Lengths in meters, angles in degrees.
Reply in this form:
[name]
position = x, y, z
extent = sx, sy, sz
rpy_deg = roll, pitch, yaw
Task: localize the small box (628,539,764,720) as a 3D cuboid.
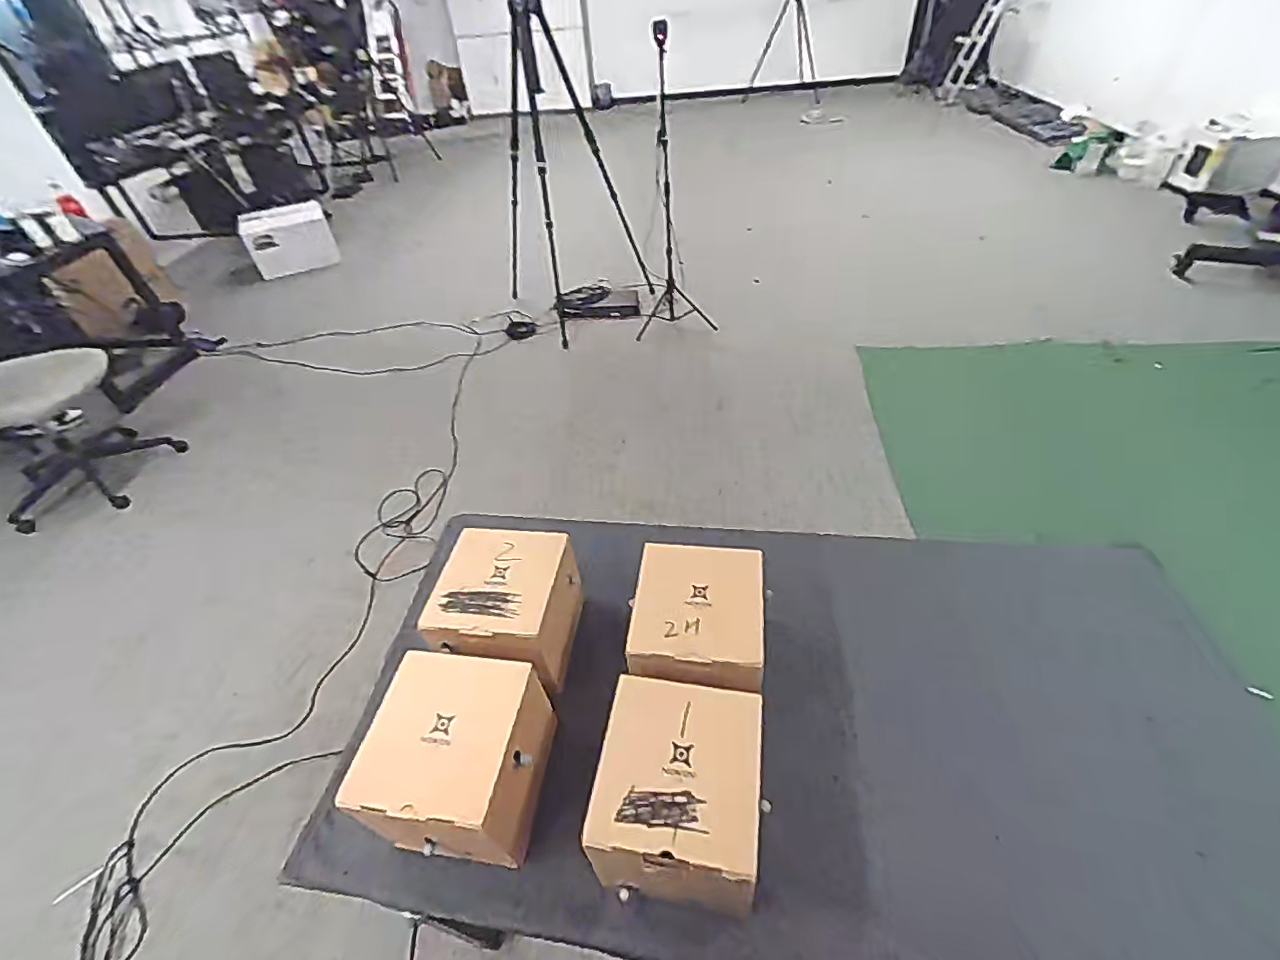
[small box]
position = 0.083, 0.207, 0.759
extent = 0.168, 0.176, 0.179
rpy_deg = 3, 44, 9
